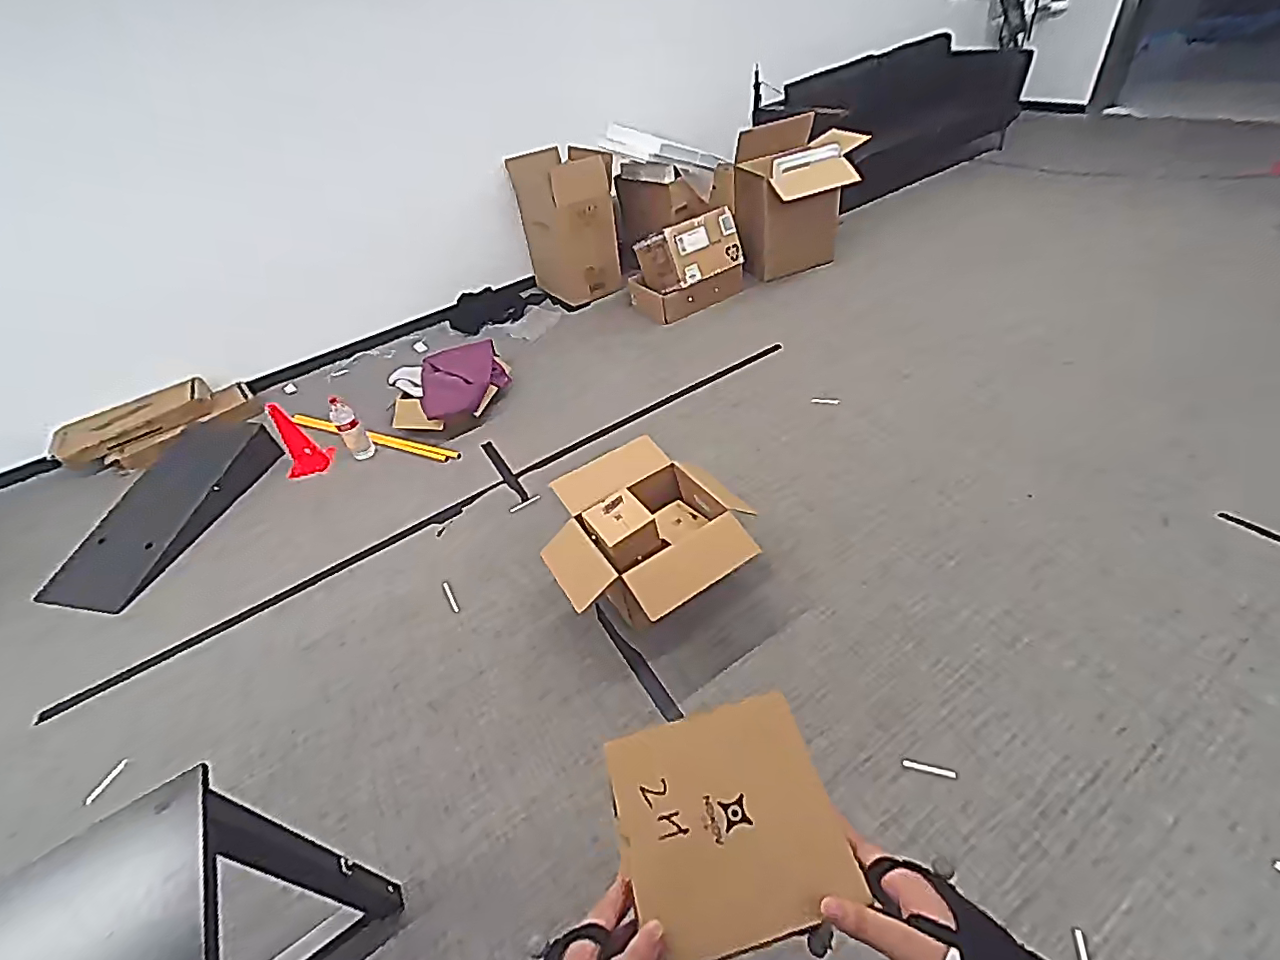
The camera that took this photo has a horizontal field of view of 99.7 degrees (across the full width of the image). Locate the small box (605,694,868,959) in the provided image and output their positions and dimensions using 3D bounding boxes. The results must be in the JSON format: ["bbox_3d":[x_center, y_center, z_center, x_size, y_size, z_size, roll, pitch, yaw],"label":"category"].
[{"bbox_3d":[0.076,0.330,0.506,0.179,0.176,0.168,-15,48,-5],"label":"small box"}]
